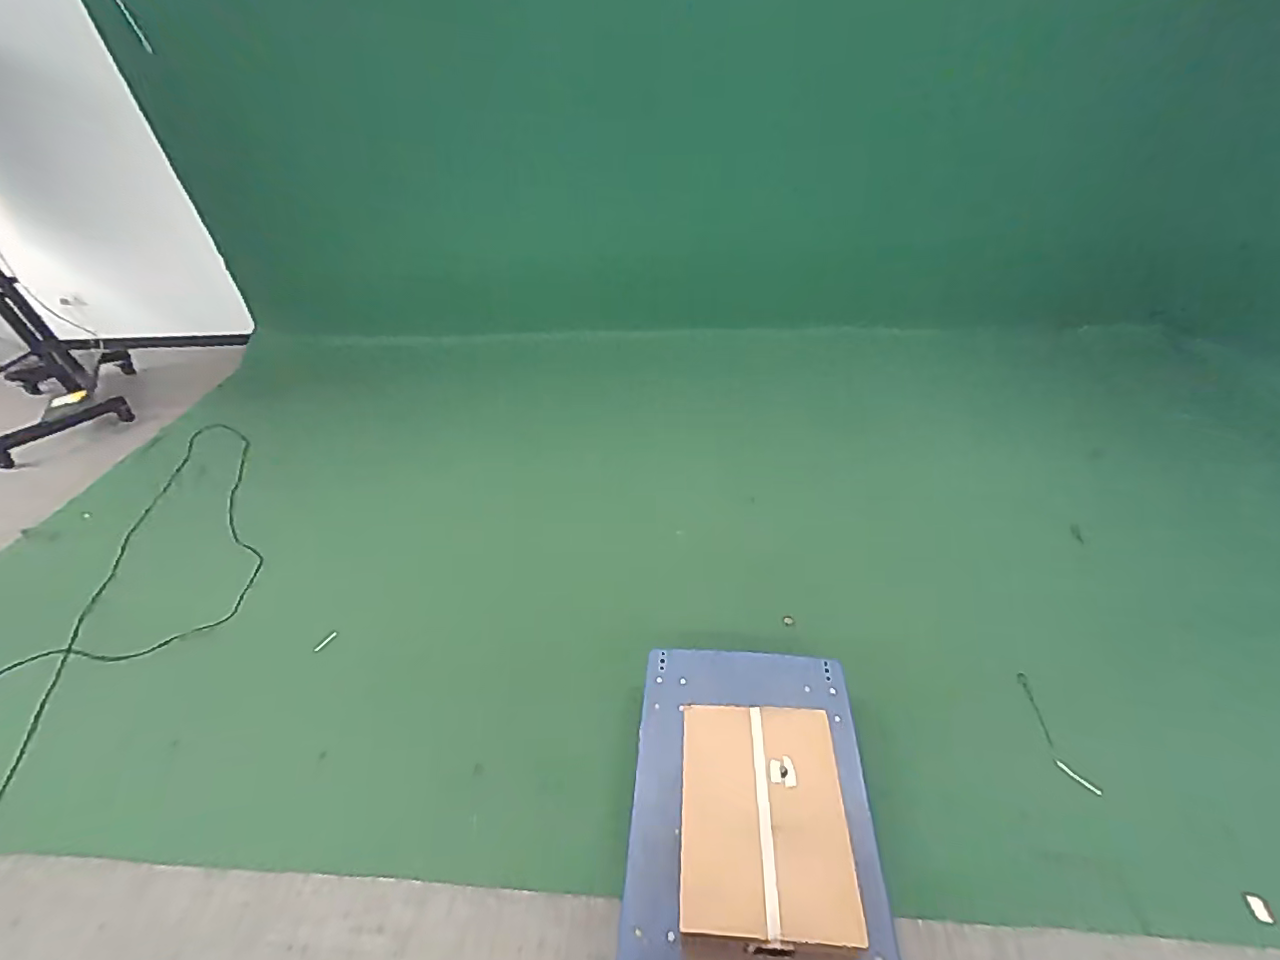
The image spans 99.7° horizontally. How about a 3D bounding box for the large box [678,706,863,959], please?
[{"bbox_3d":[0.245,0.753,1.156,0.320,0.320,0.408,0,41,5],"label":"large box"}]
